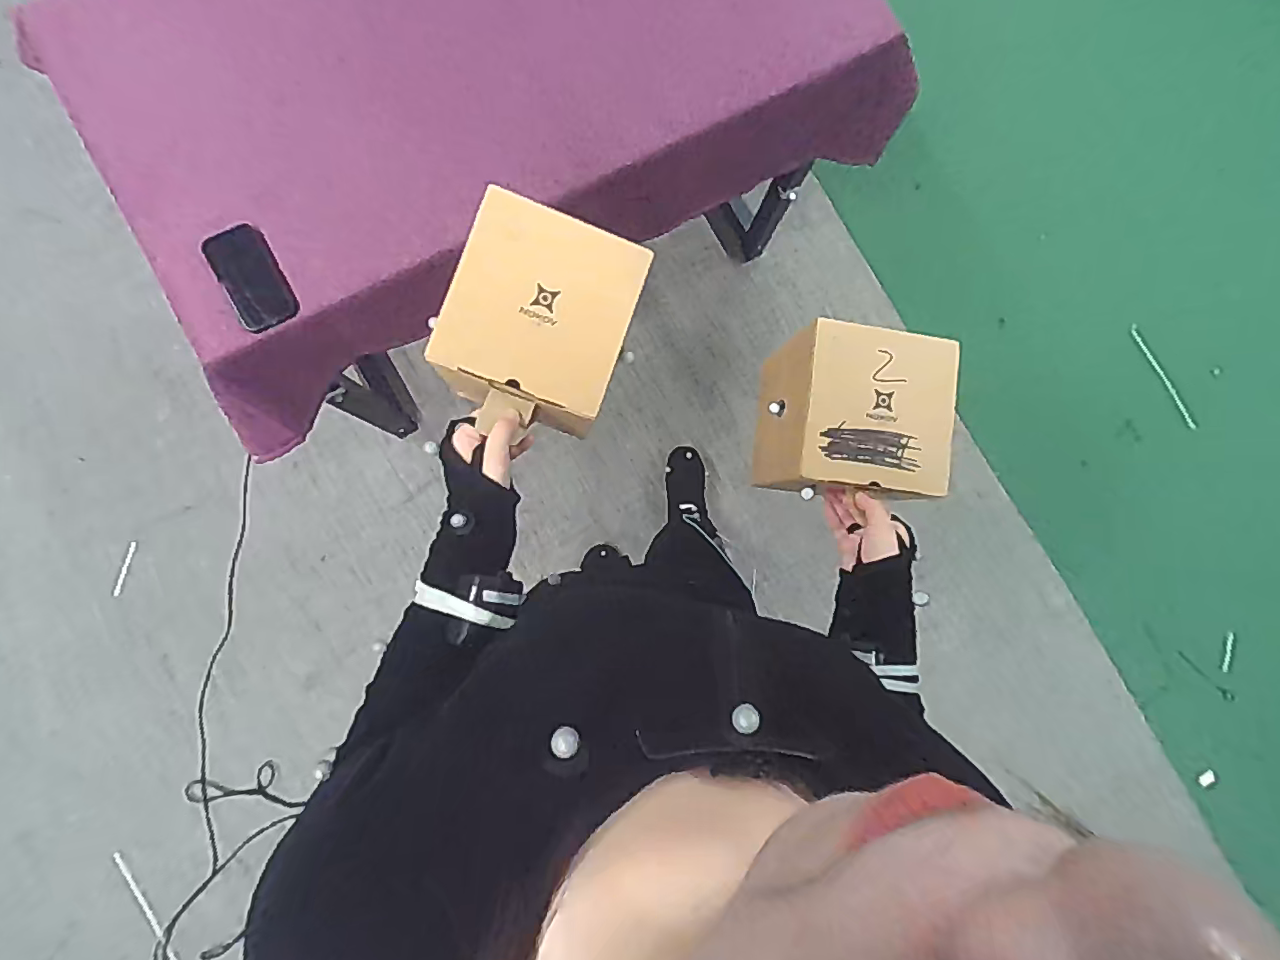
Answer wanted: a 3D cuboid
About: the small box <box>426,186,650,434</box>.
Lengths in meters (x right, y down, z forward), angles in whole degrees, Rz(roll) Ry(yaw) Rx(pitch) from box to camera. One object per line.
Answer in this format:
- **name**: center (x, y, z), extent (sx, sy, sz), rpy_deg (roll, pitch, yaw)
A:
- **small box**: center (-0.106, -0.162, 0.581), extent (0.168, 0.176, 0.179), rpy_deg (19, 86, -9)
